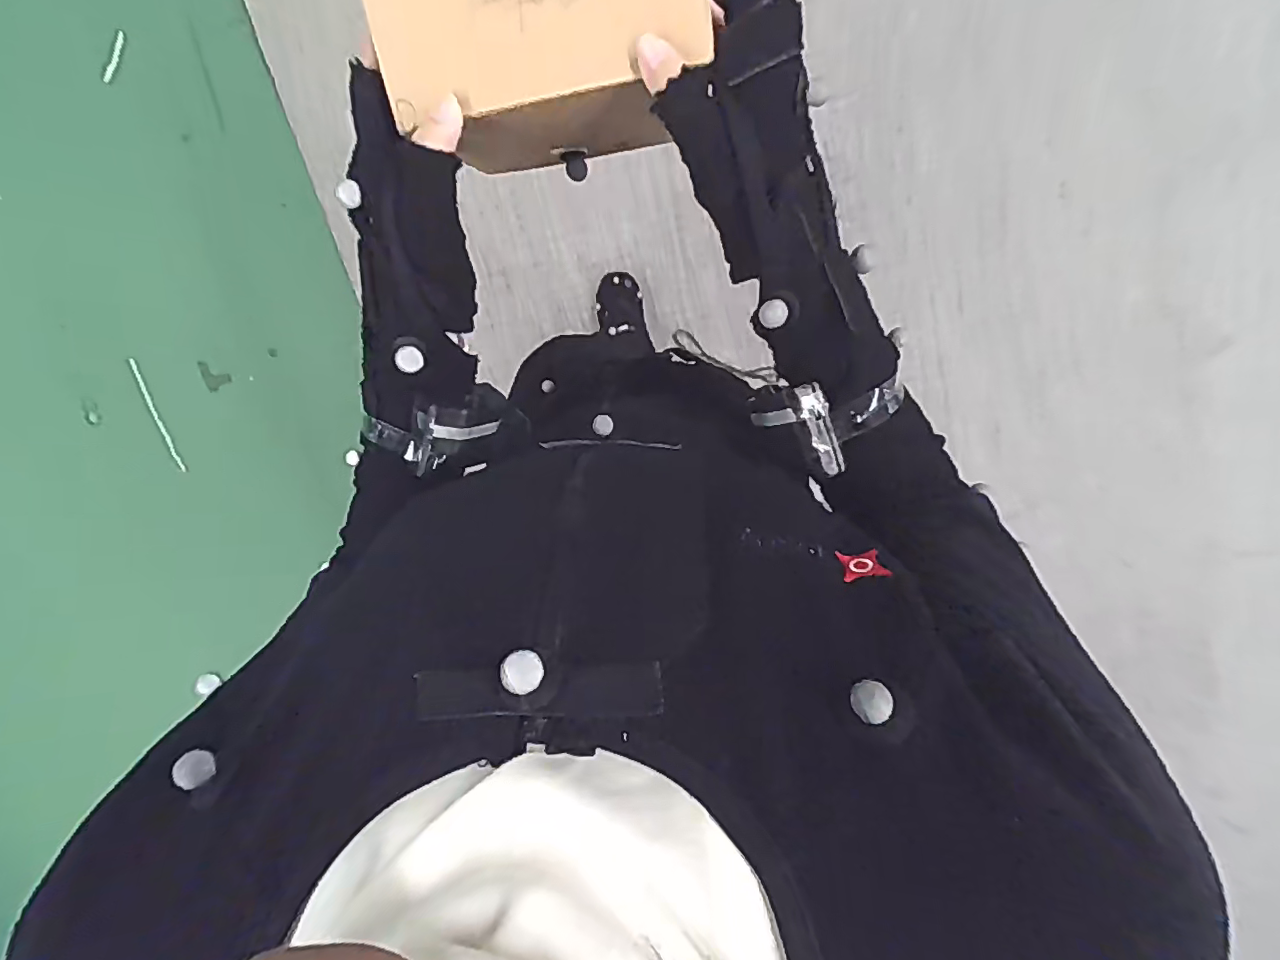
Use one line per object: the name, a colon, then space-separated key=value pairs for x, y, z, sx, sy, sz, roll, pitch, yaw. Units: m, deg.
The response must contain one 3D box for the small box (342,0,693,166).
small box: x=-0.062 y=-0.304 z=0.311 sx=0.168 sy=0.176 sz=0.179 roll=-6 pitch=112 yaw=7
